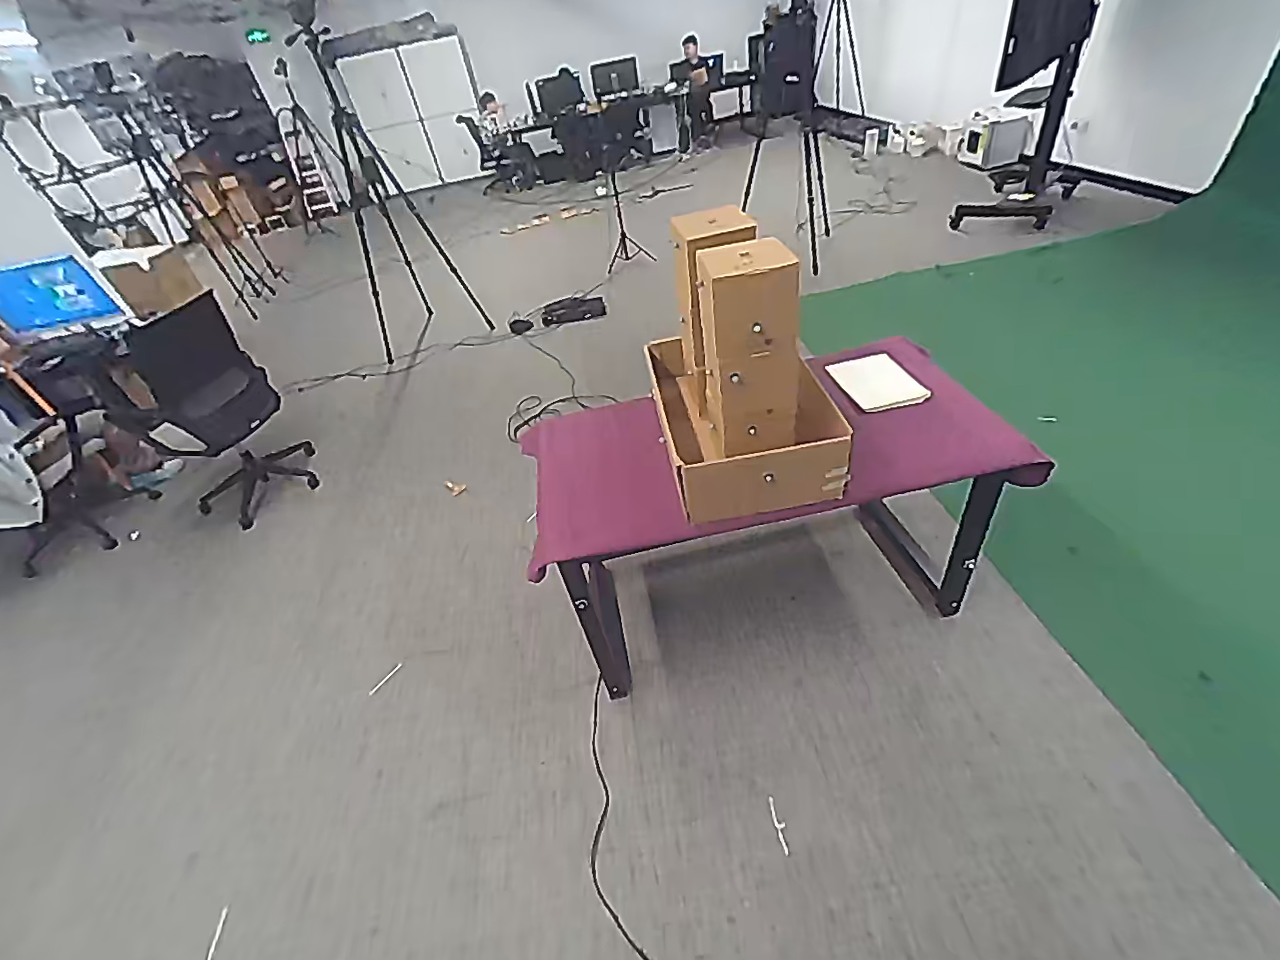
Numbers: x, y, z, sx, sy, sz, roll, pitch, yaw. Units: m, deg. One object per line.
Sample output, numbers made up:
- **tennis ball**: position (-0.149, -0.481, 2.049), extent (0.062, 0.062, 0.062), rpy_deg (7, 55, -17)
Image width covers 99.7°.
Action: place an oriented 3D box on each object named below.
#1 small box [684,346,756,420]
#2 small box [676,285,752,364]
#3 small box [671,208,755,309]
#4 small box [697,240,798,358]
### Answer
- **small box**: position (0.225, -0.296, 1.536), extent (0.168, 0.176, 0.179), rpy_deg (-12, 42, -1)
- **small box**: position (0.199, -0.422, 1.433), extent (0.168, 0.176, 0.179), rpy_deg (-13, 41, -2)
- **small box**: position (0.177, -0.541, 1.325), extent (0.168, 0.176, 0.179), rpy_deg (-13, 42, -1)
- **small box**: position (0.215, -0.372, 1.113), extent (0.168, 0.176, 0.179), rpy_deg (-10, 40, 2)
